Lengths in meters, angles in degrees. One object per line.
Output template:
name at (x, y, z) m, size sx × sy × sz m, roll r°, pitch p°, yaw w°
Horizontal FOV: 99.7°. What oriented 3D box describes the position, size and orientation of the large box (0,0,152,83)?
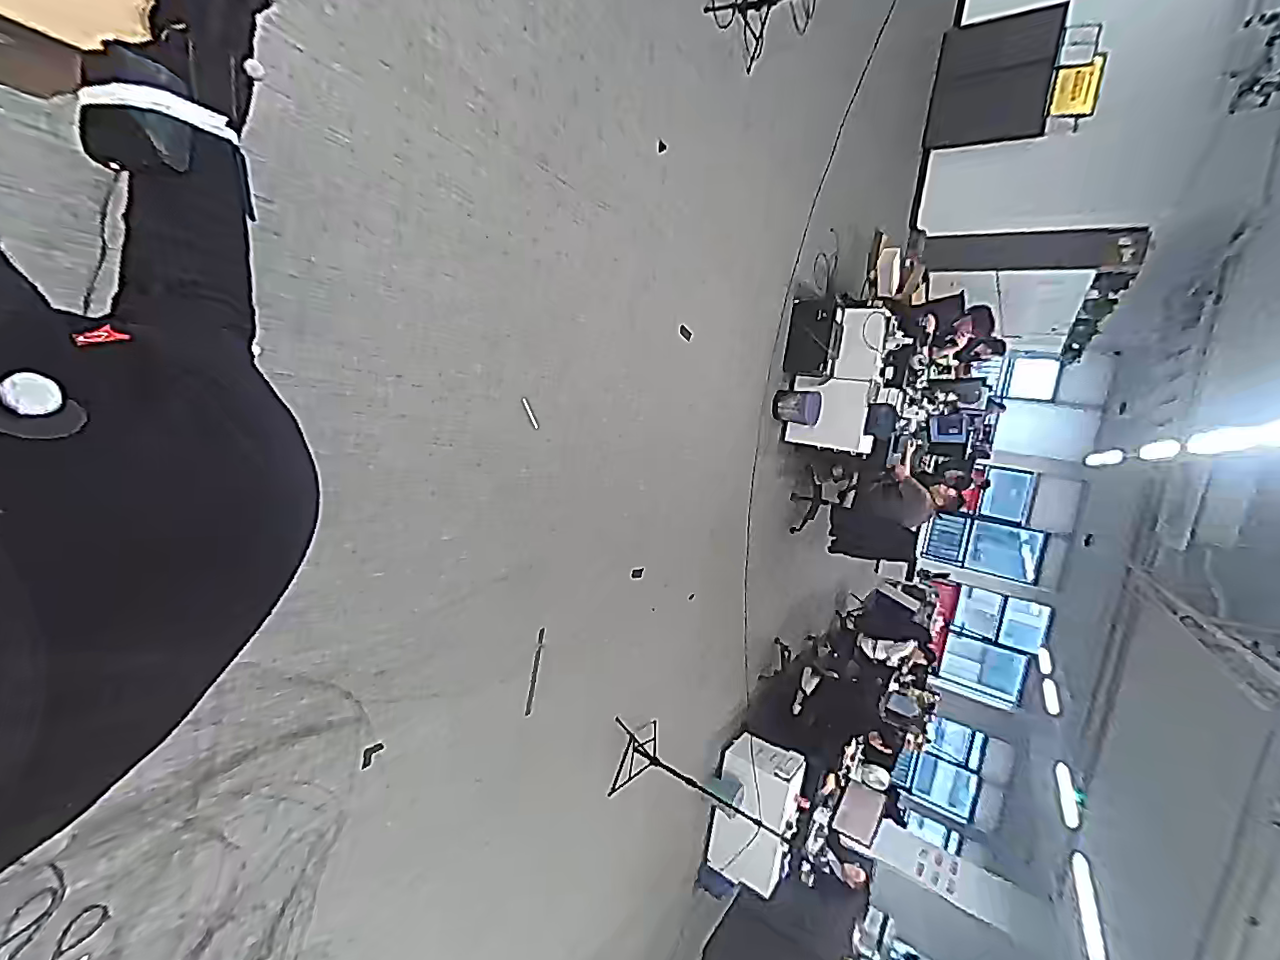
large box at (-0.543, -0.469, 0.259) m, size 0.408 × 0.320 × 0.320 m, roll -6°, pitch 115°, yaw -57°
